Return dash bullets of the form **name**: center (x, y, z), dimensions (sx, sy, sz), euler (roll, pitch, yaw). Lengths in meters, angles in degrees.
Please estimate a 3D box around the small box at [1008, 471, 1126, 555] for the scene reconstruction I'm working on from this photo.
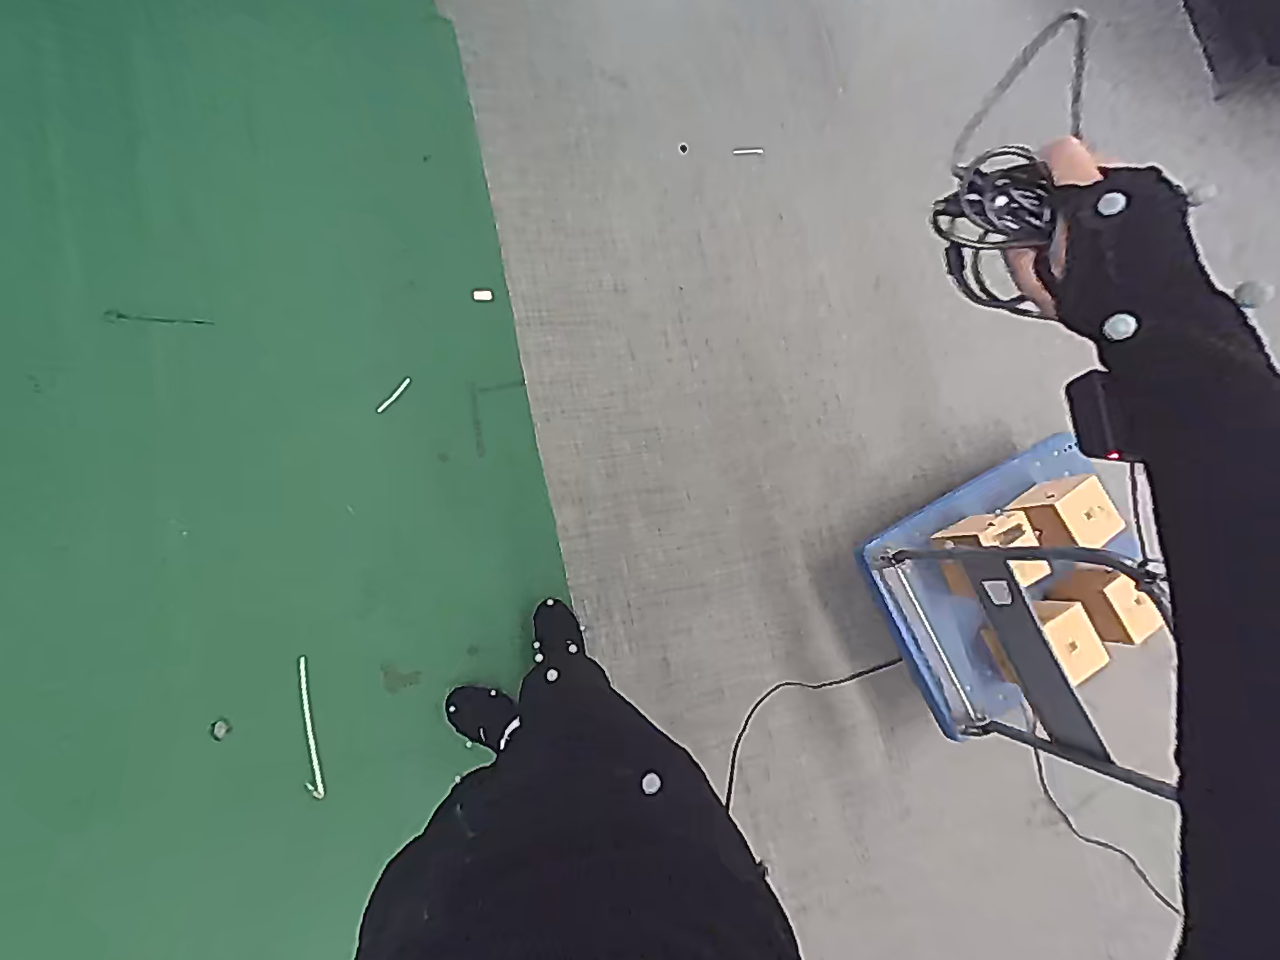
- **small box**: center (1.173, 0.098, 1.504), dimensions (0.179, 0.176, 0.168), euler (-29, 88, -15)

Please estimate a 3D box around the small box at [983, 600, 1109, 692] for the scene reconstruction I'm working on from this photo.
- **small box**: center (1.059, 0.425, 1.423), dimensions (0.179, 0.176, 0.168), euler (-24, 86, -14)

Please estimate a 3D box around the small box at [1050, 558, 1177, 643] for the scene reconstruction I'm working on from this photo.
- **small box**: center (1.294, 0.325, 1.489), dimensions (0.179, 0.176, 0.168), euler (-27, 86, -14)
